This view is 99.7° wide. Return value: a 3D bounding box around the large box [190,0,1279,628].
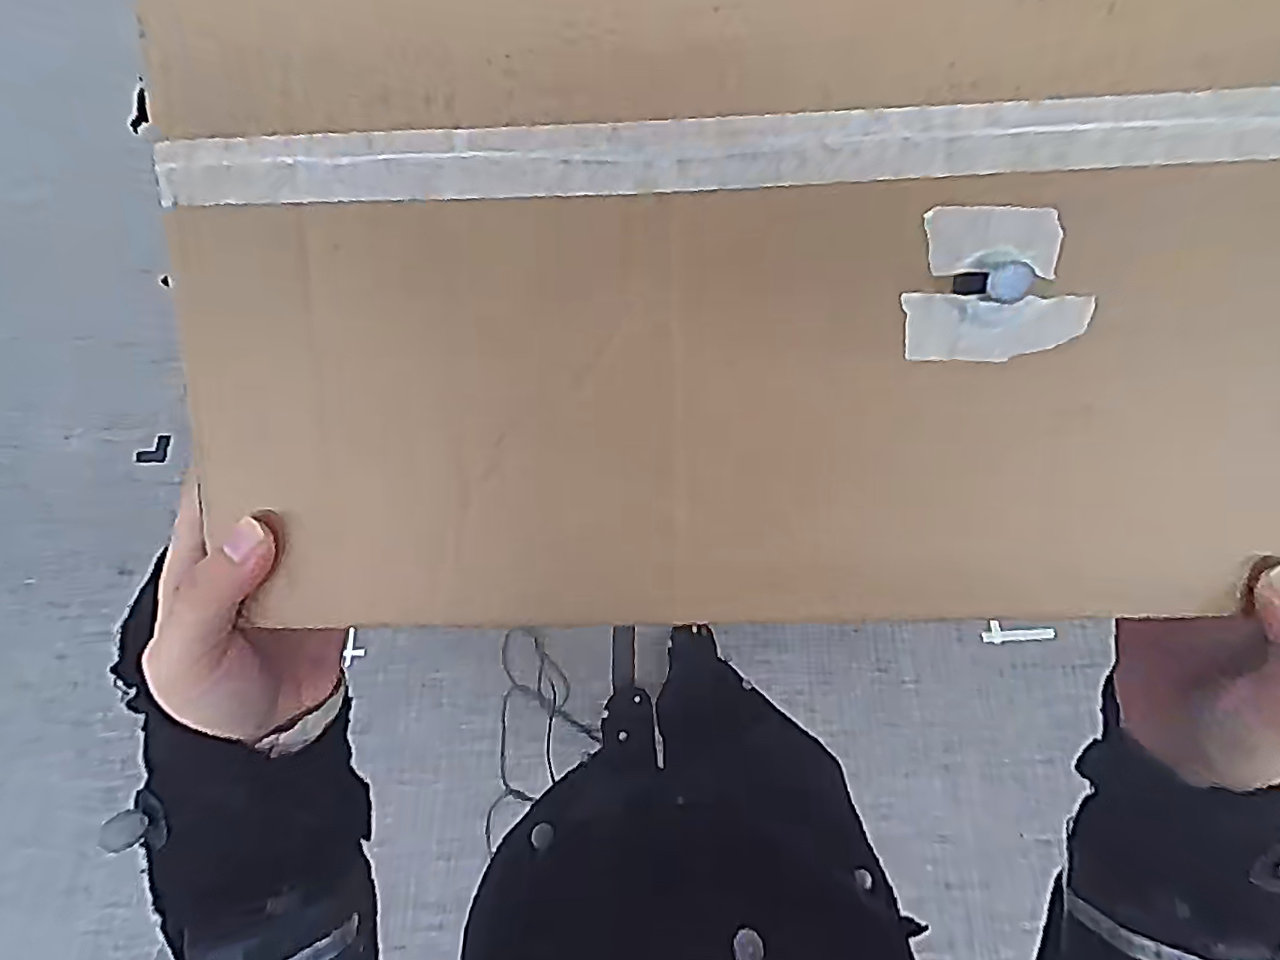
[{"bbox_3d":[0.046,-0.118,0.336,0.408,0.320,0.320,-2,96,1],"label":"large box"}]
